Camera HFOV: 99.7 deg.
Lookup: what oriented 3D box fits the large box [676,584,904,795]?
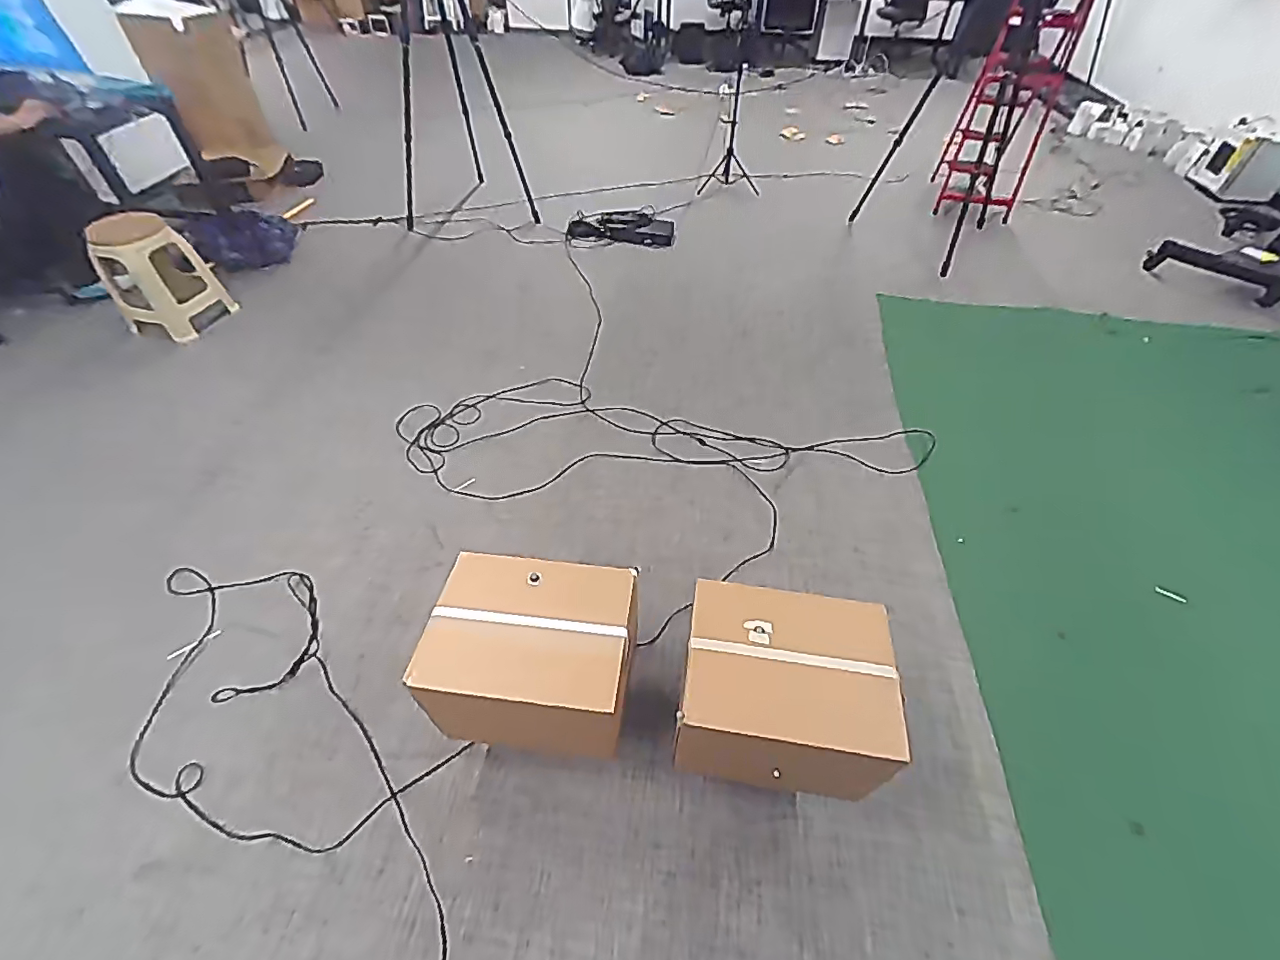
[{"bbox_3d":[0.300,0.462,1.188,0.408,0.320,0.320,7,48,6],"label":"large box"}]
